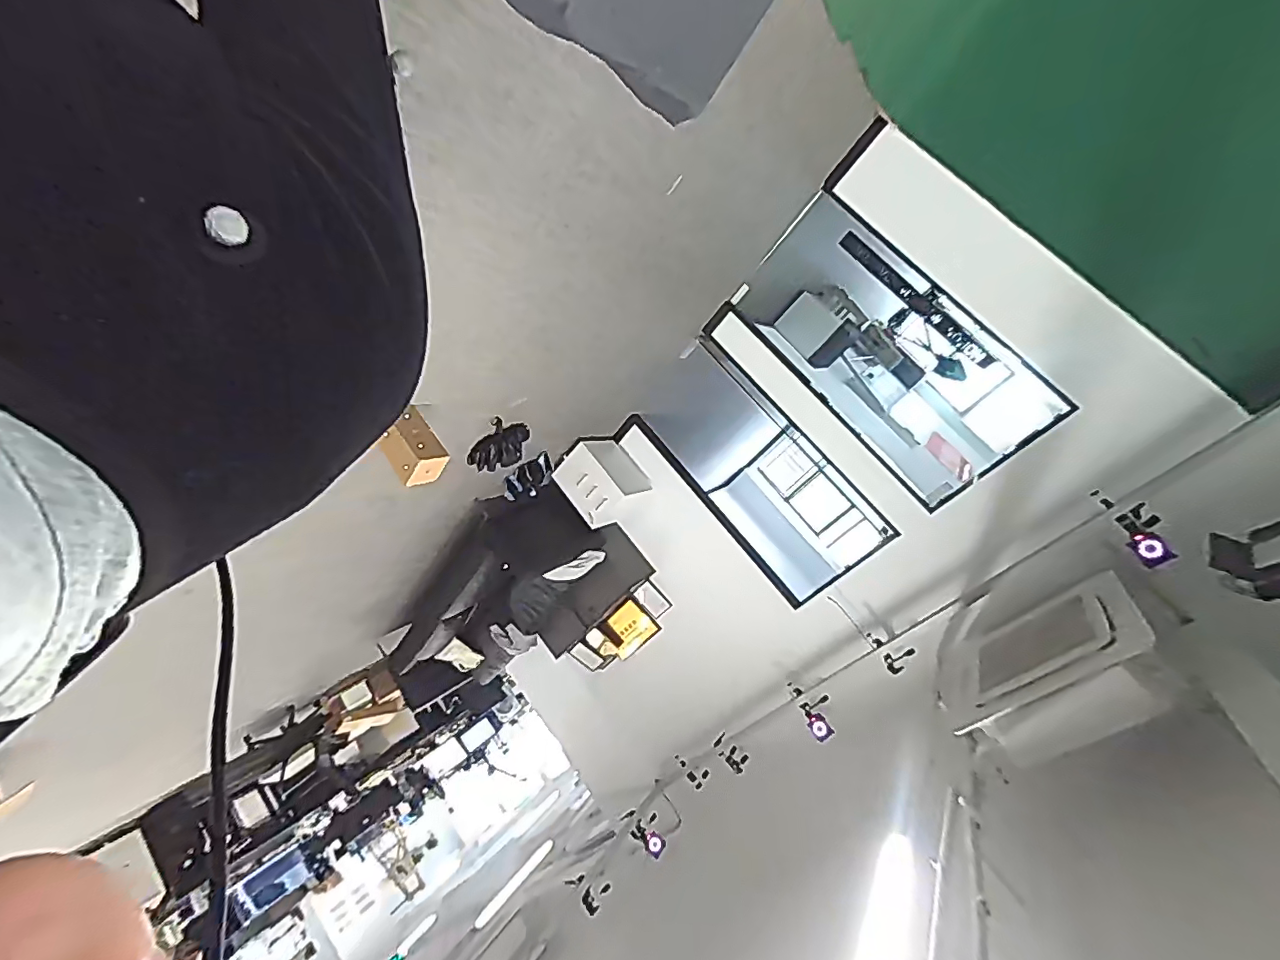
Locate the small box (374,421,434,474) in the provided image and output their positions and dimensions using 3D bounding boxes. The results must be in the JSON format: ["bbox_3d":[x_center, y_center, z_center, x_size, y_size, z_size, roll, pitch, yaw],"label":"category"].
[{"bbox_3d":[-1.091,-0.157,2.488,0.179,0.176,0.168,-50,163,30],"label":"small box"}]

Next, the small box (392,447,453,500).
[{"bbox_3d":[-0.989,-0.038,2.447,0.179,0.176,0.168,-48,163,30],"label":"small box"}]
